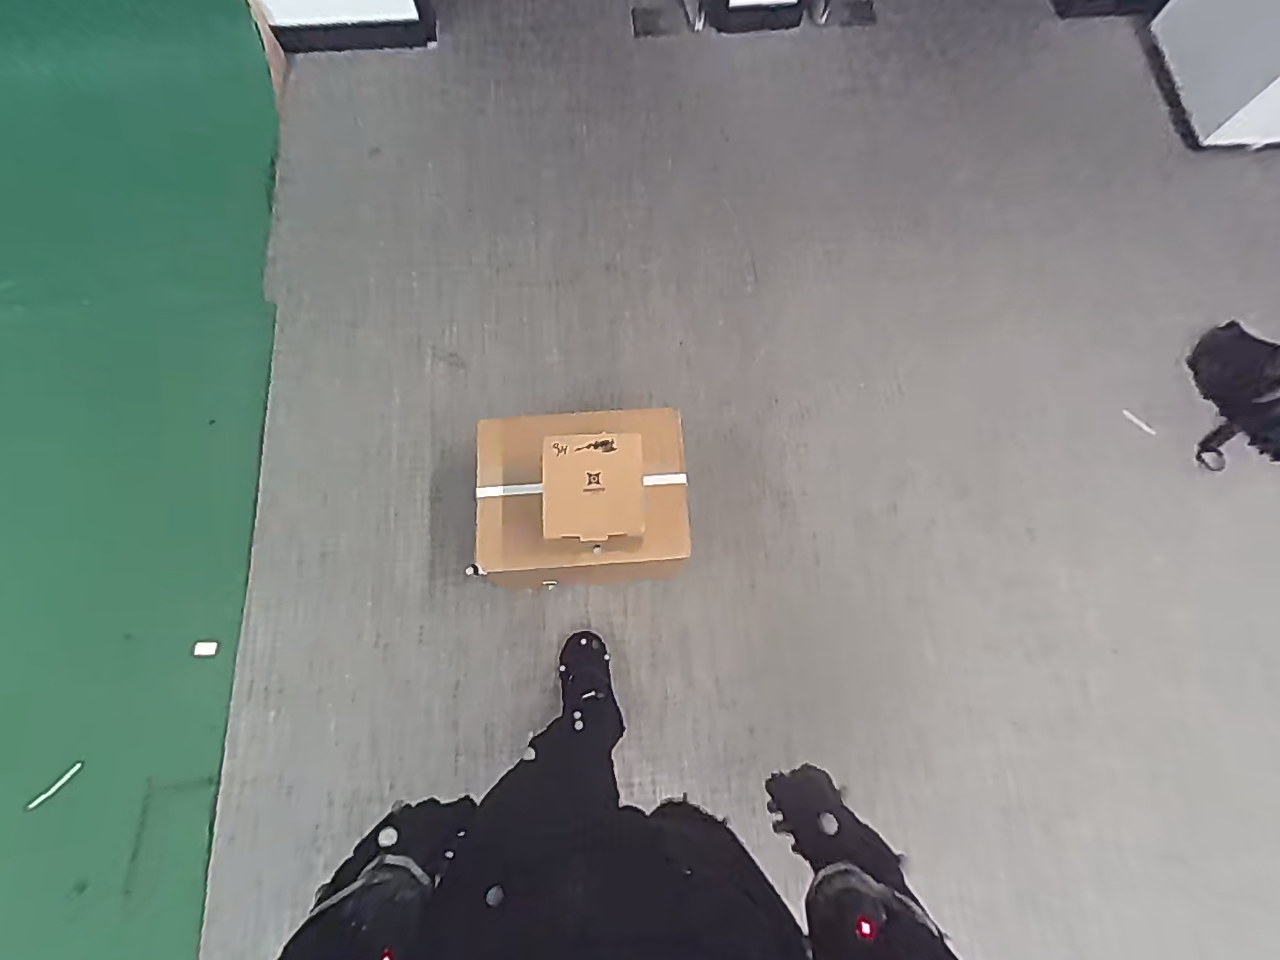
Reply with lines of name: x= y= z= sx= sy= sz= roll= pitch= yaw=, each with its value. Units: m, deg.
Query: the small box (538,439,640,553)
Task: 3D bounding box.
small box: x=-0.084 y=0.037 z=0.957 sx=0.168 sy=0.176 sz=0.179 roll=-1 pitch=76 yaw=-2
